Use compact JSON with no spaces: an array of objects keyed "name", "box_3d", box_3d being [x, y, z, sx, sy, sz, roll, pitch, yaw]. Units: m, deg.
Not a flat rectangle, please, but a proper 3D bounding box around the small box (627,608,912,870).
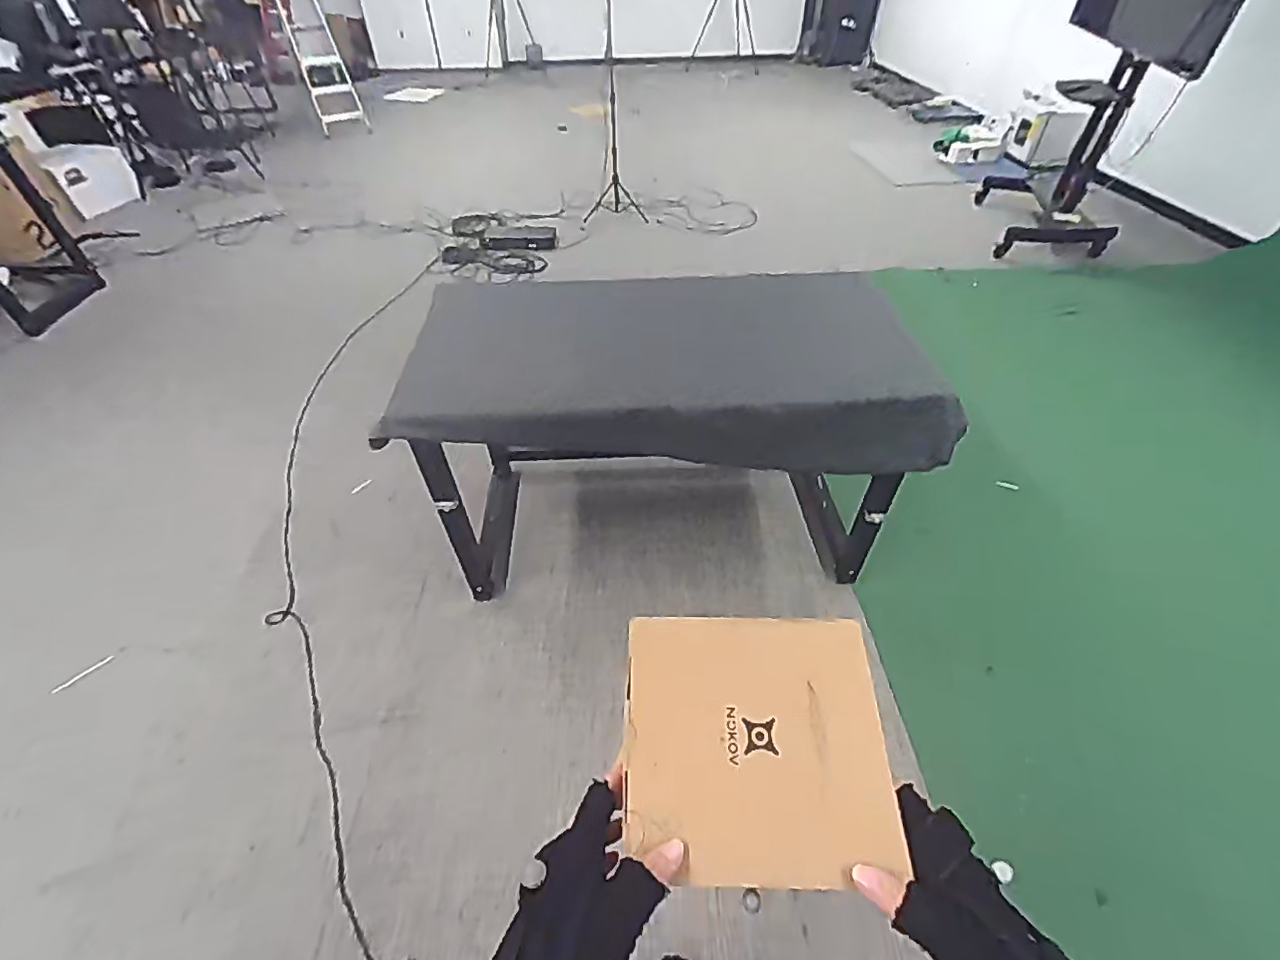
[{"name":"small box","box_3d":[0.082,0.211,0.438,0.179,0.176,0.168,-1,58,1]}]
